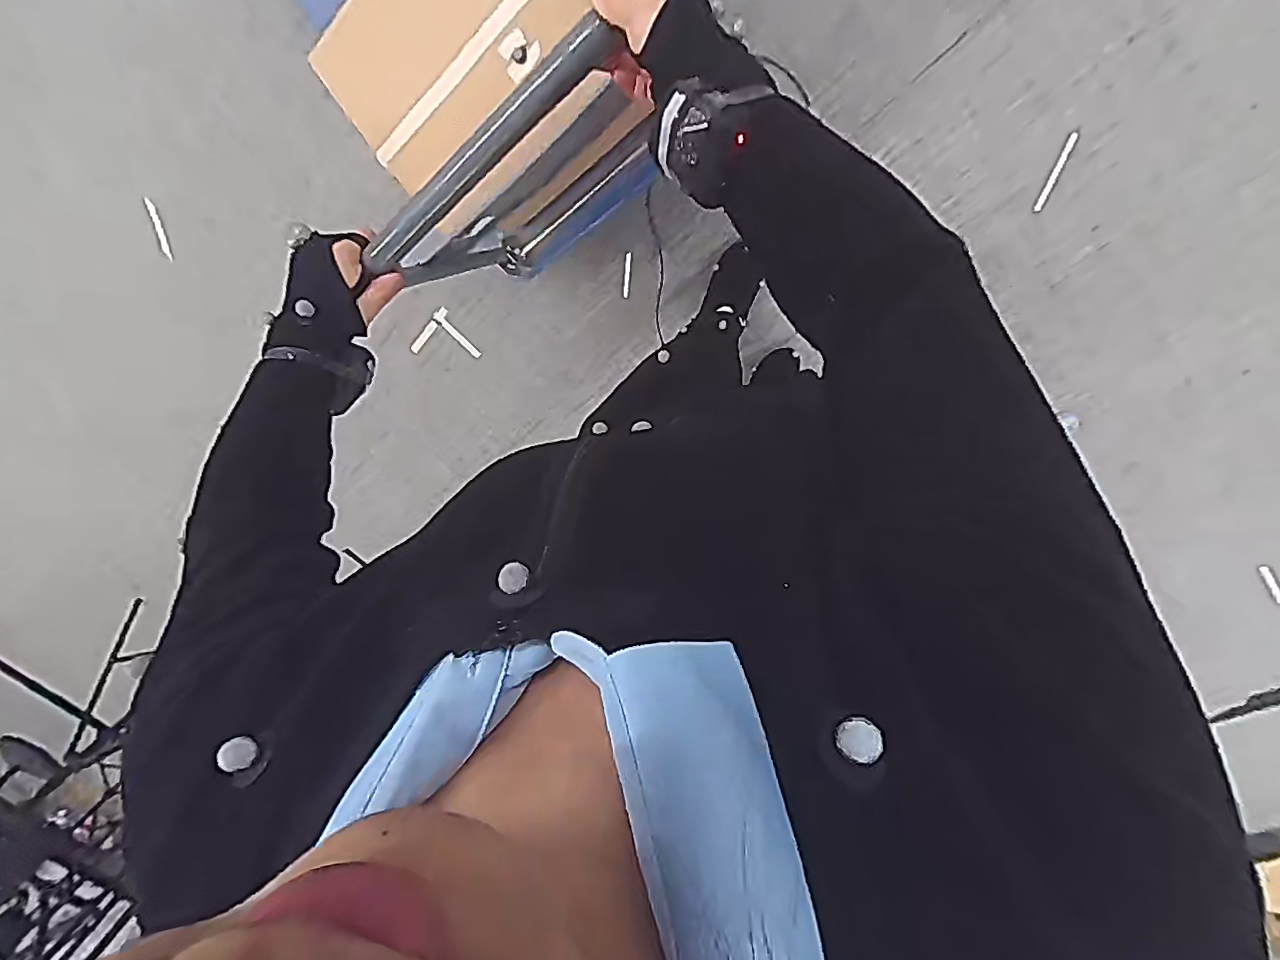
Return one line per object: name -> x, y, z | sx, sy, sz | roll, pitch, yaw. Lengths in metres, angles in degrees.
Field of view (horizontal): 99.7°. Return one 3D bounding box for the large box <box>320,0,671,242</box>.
large box -> -0.209, -0.661, 0.892 | 0.408, 0.320, 0.320 | -30, 110, 24
